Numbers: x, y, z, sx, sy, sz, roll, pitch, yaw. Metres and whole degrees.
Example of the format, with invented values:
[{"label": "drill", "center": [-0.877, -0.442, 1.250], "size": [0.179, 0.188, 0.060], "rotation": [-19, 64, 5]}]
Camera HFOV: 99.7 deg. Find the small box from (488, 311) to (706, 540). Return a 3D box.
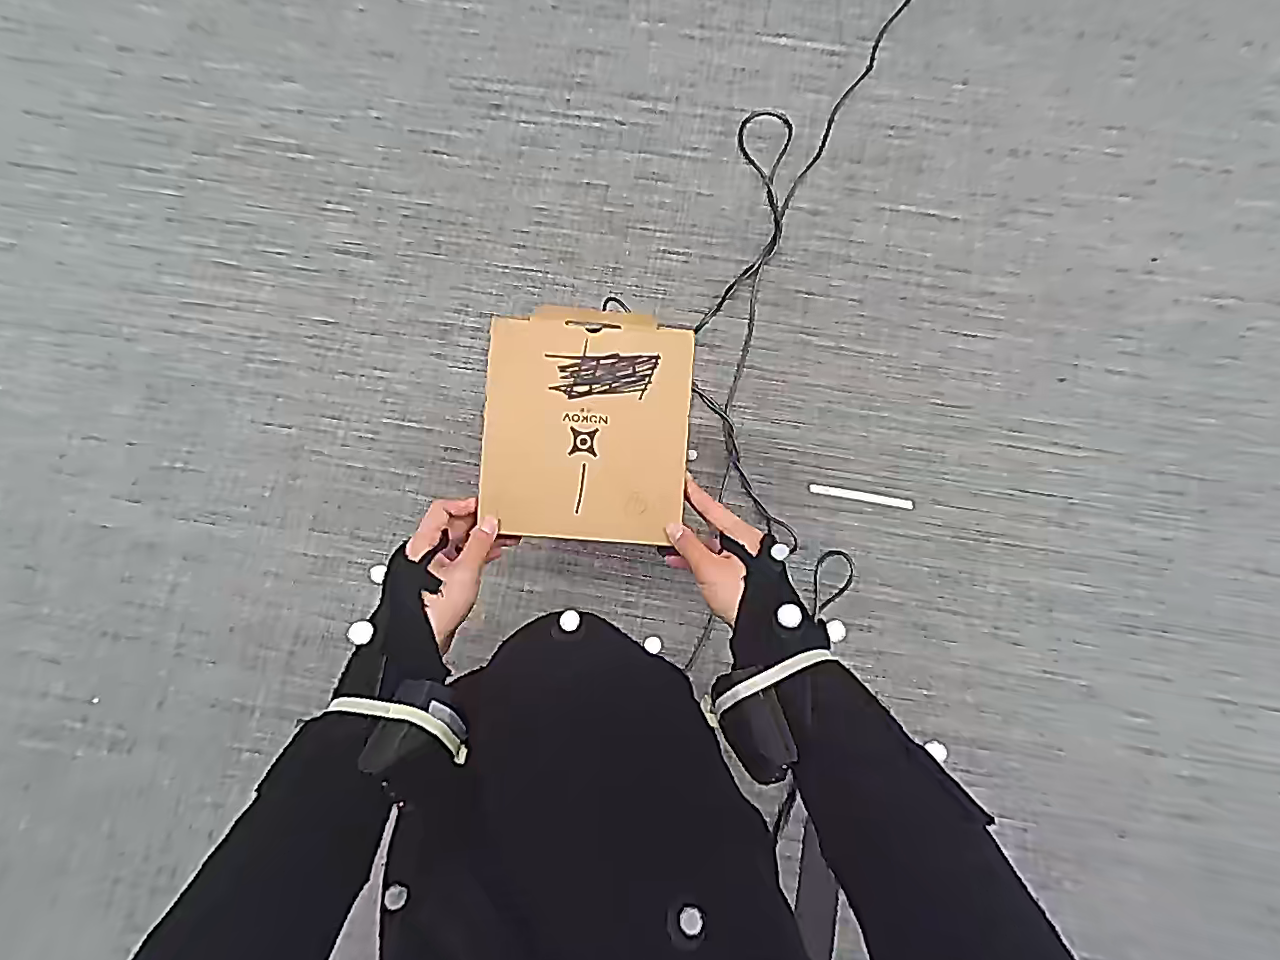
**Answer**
[{"label": "small box", "center": [-0.035, -0.042, 0.516], "size": [0.168, 0.176, 0.179], "rotation": [4, 88, 0]}]
